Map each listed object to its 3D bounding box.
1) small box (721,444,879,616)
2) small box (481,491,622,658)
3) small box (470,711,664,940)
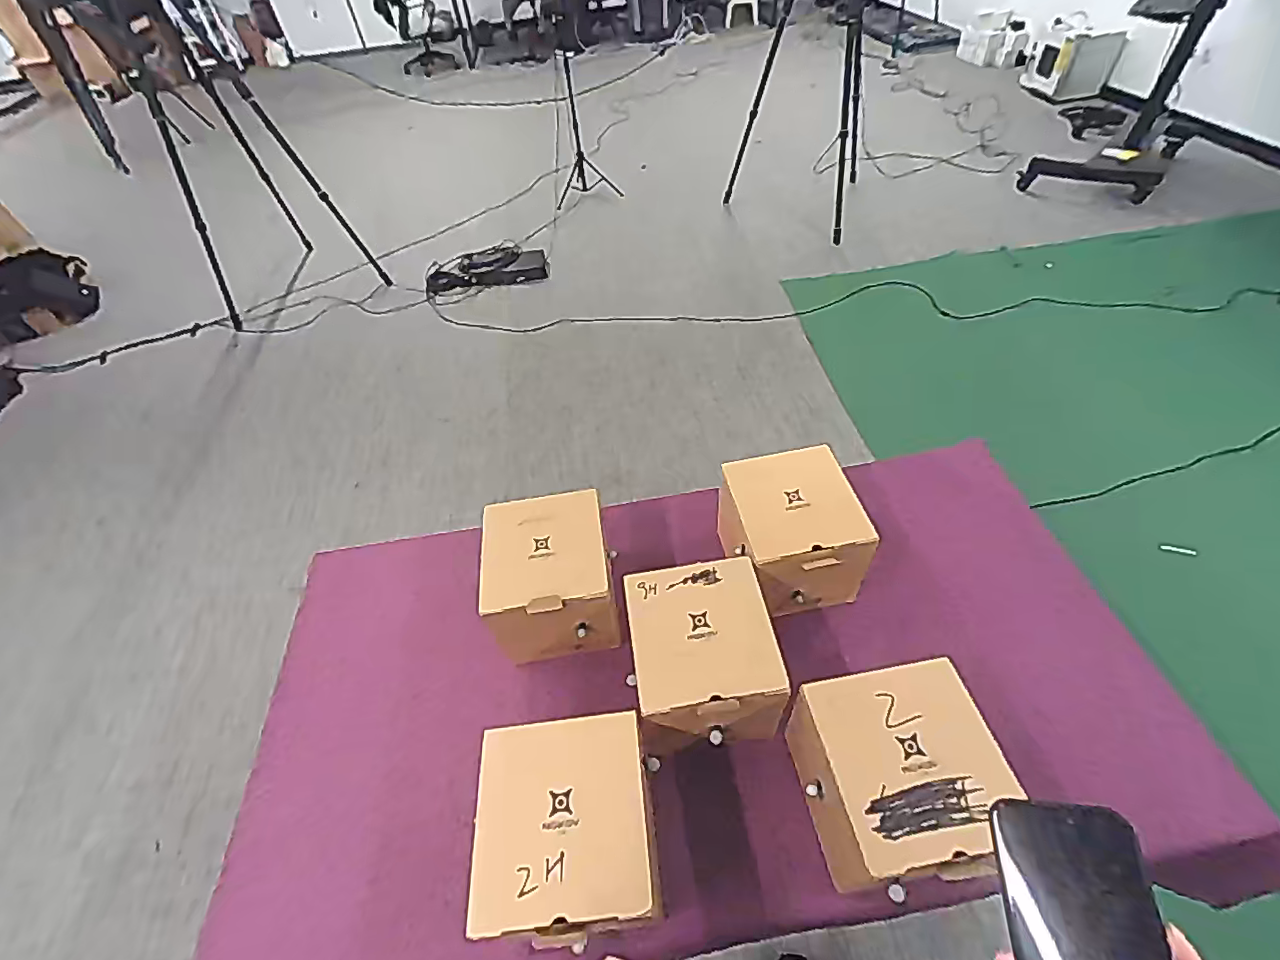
[{"bbox_3d":[0.220,0.076,0.804,0.168,0.176,0.179,-11,51,-3],"label":"small box"},{"bbox_3d":[-0.122,0.144,0.788,0.168,0.176,0.179,-9,49,-2],"label":"small box"},{"bbox_3d":[-0.067,0.374,0.583,0.168,0.176,0.179,-8,49,1],"label":"small box"}]
